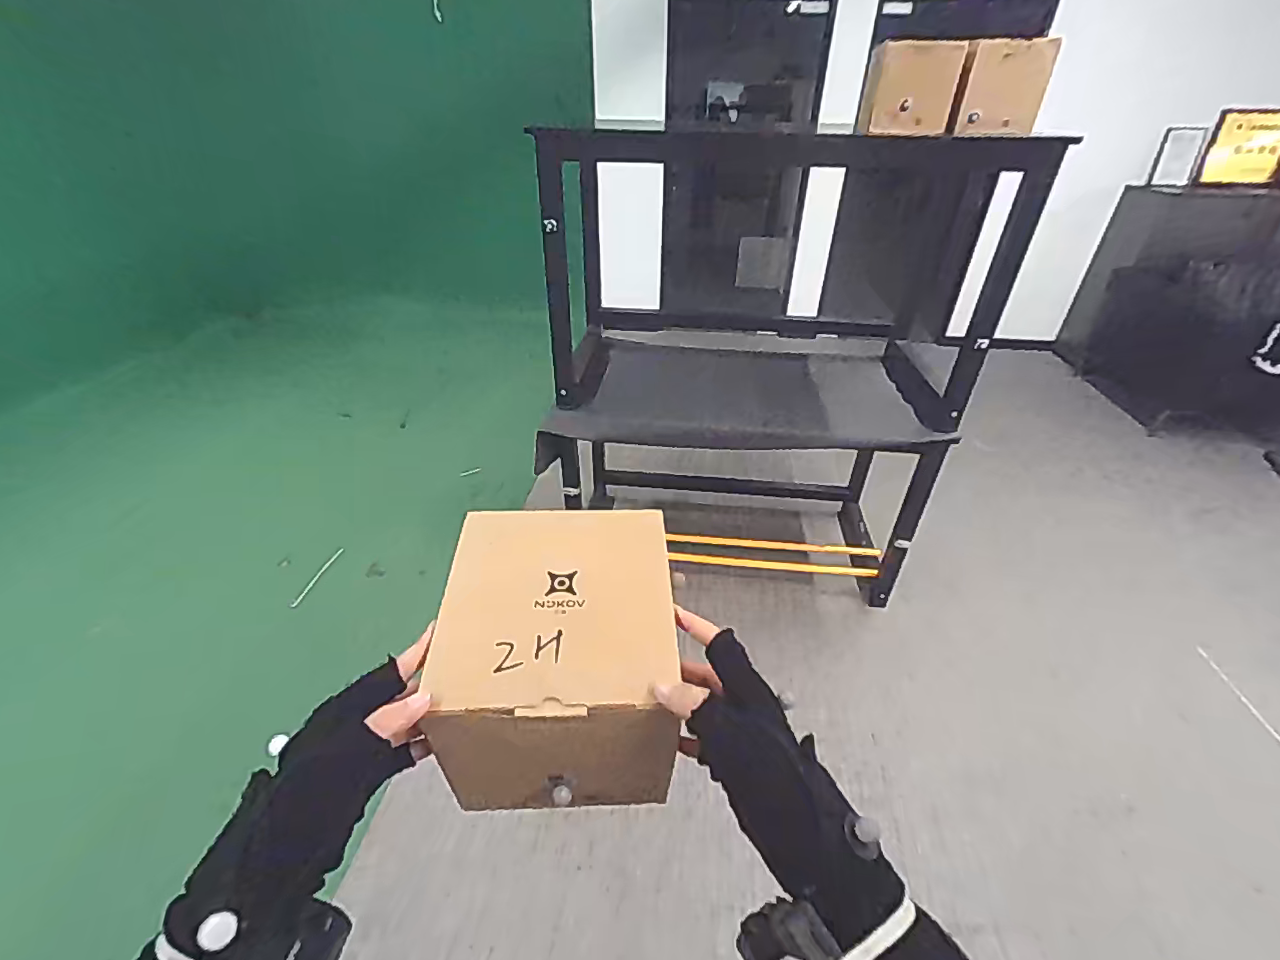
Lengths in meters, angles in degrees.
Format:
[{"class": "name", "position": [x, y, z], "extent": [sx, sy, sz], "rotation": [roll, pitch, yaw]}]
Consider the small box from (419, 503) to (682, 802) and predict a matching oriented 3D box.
[{"class": "small box", "position": [-0.060, 0.137, 0.446], "extent": [0.168, 0.176, 0.179], "rotation": [0, 40, -3]}]

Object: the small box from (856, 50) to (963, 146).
[{"class": "small box", "position": [0.617, -0.889, 1.264], "extent": [0.168, 0.176, 0.179], "rotation": [6, 35, 8]}]

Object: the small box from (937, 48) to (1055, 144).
[{"class": "small box", "position": [0.797, -0.876, 1.244], "extent": [0.168, 0.176, 0.179], "rotation": [5, 34, 7]}]
